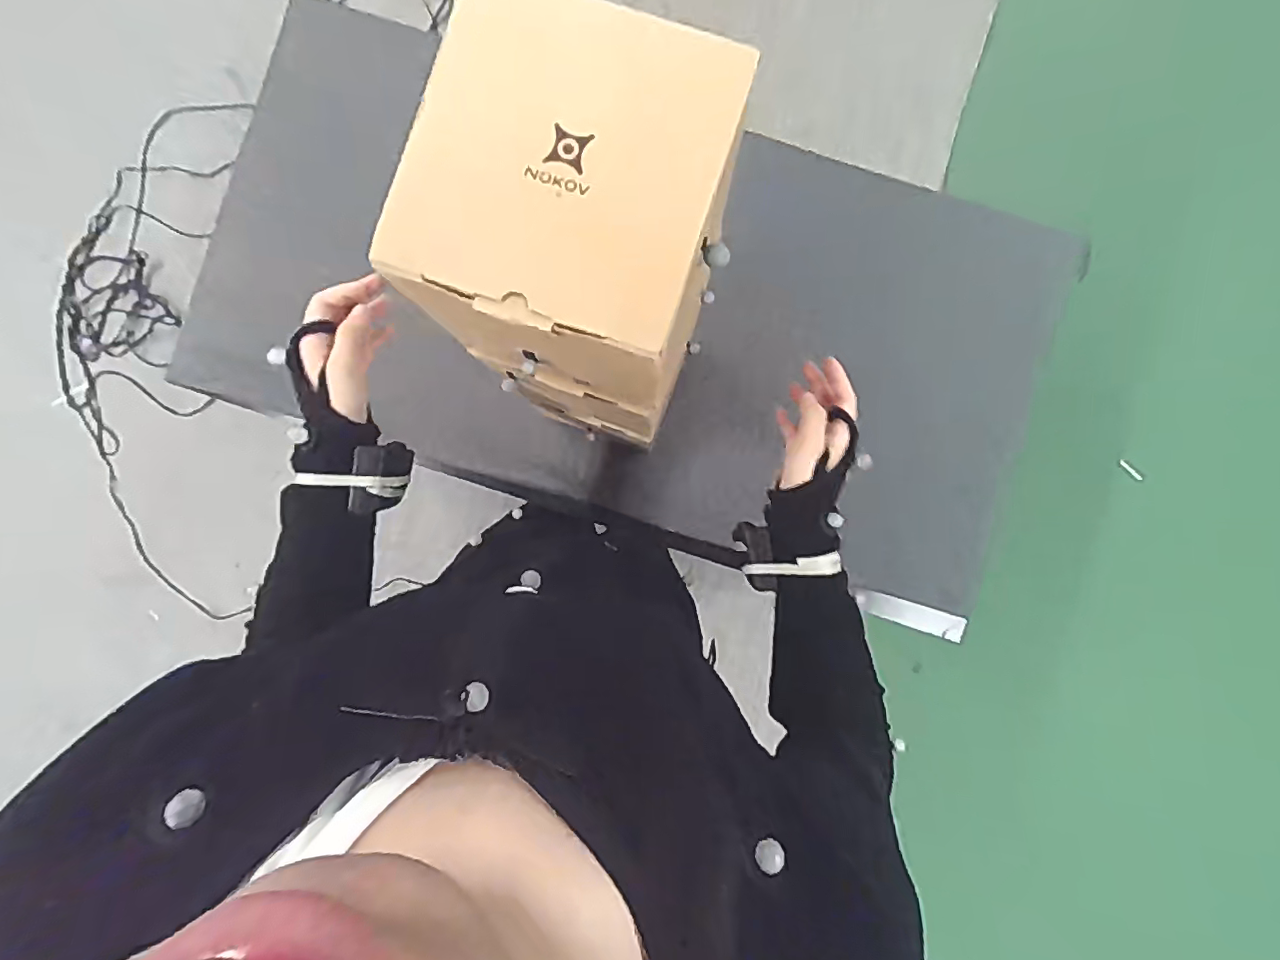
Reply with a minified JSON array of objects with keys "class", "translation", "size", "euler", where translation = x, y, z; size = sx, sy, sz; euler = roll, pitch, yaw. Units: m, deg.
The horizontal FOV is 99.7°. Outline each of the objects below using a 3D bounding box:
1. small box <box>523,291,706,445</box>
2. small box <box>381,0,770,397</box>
[{"class":"small box","translation":[-0.028,-0.155,0.690],"size":[0.168,0.176,0.179],"euler":[19,89,2]},{"class":"small box","translation":[-0.033,-0.173,0.363],"size":[0.168,0.176,0.179],"euler":[18,89,1]}]
